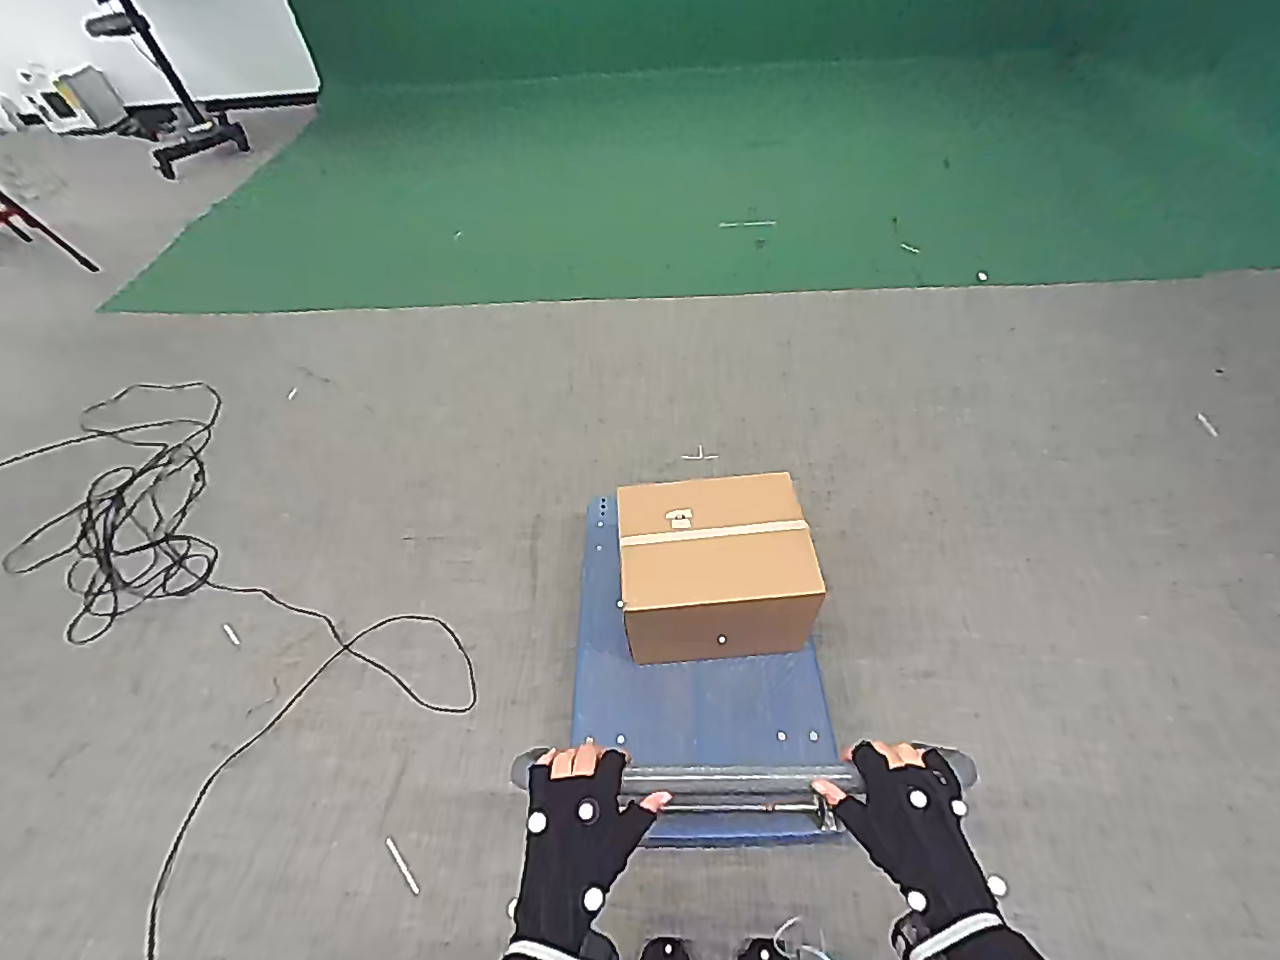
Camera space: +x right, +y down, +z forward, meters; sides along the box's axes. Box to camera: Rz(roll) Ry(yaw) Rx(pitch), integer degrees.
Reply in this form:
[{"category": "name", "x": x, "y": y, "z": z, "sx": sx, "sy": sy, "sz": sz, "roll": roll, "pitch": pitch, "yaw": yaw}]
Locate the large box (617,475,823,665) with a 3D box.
[{"category": "large box", "x": 0.171, "y": 0.221, "z": 1.290, "sx": 0.408, "sy": 0.320, "sz": 0.320, "roll": -7, "pitch": 51, "yaw": 1}]
